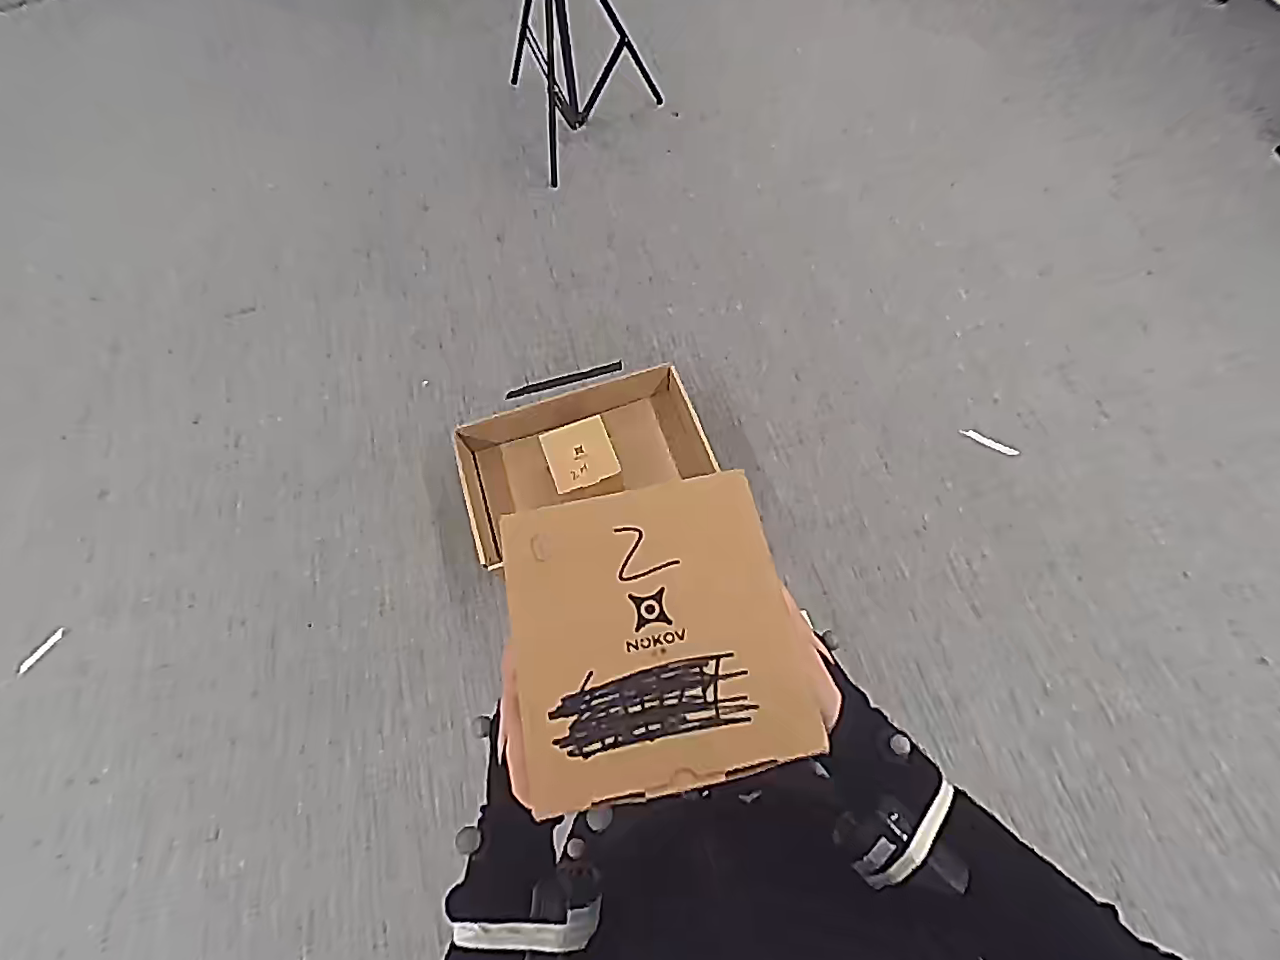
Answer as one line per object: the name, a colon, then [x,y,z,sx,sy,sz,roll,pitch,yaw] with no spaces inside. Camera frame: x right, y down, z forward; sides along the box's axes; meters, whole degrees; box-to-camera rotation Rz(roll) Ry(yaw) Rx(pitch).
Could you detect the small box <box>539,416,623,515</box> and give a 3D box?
small box: [-0.150,-0.034,1.413,0.168,0.176,0.179,-20,69,-6]
